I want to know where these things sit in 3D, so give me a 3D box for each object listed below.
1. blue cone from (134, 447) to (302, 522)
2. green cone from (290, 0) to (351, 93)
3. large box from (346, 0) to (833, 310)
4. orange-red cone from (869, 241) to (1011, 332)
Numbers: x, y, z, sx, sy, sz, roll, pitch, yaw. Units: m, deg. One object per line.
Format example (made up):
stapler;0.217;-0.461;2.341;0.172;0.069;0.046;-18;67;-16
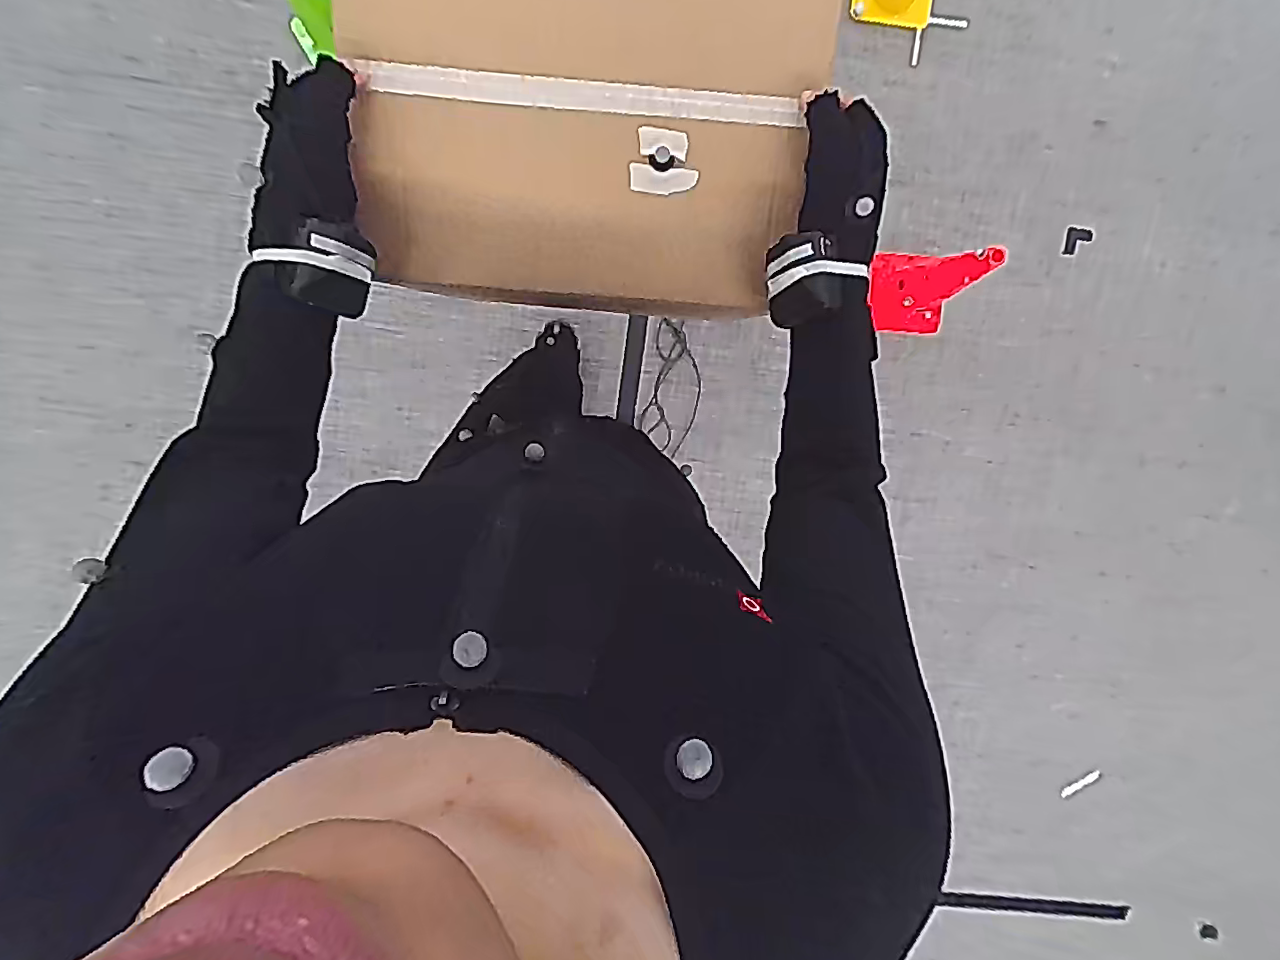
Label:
blue cone;-1.002;0.033;1.281;0.192;0.380;0.193;10;97;-2
green cone;-0.711;-1.051;1.136;0.202;0.368;0.200;-30;96;4
large box;-0.049;-0.367;0.599;0.408;0.320;0.320;3;105;-3
orange-red cone;0.712;-0.480;1.249;0.198;0.360;0.199;4;96;-3
